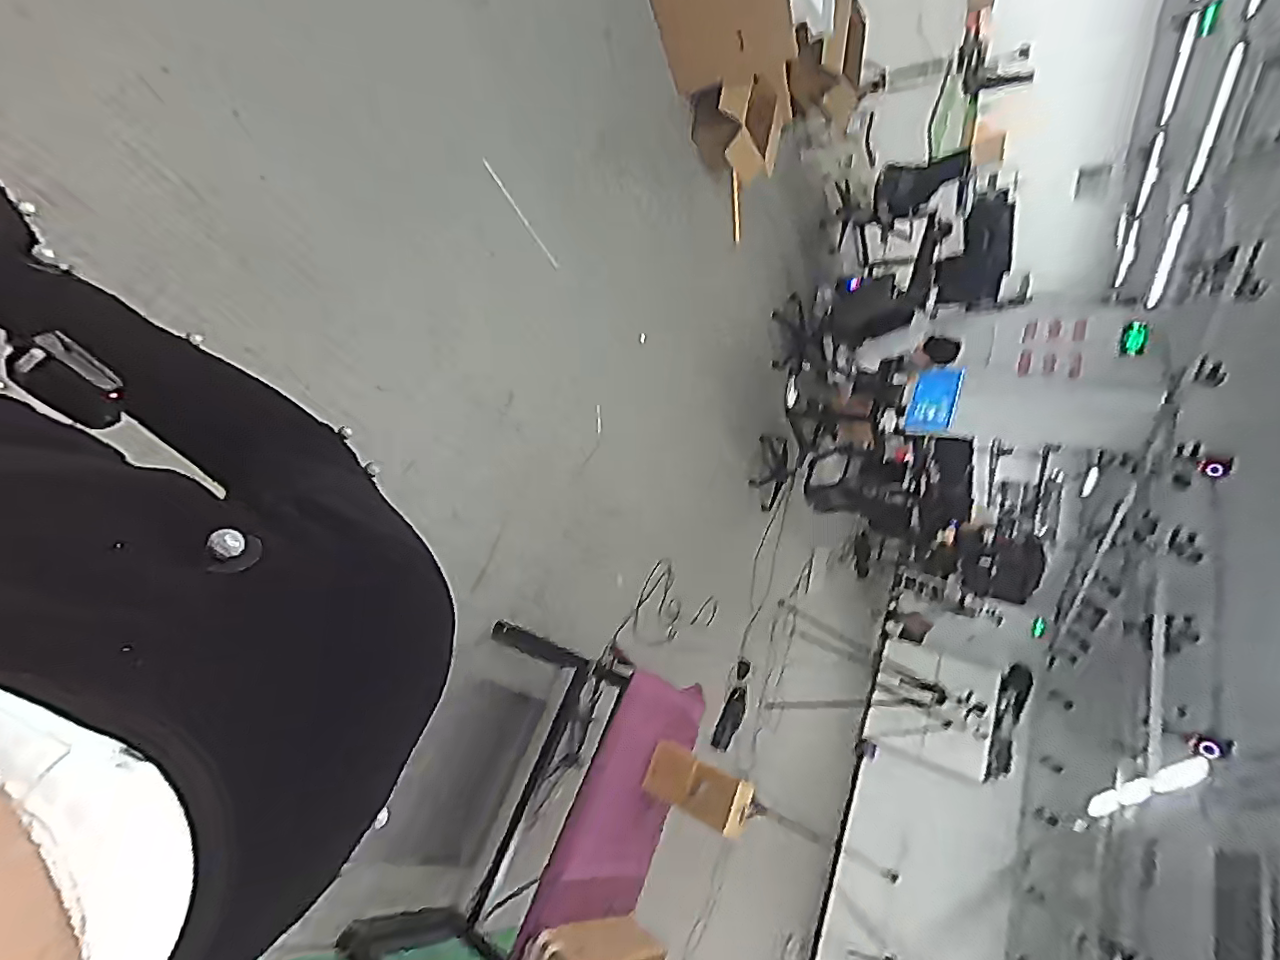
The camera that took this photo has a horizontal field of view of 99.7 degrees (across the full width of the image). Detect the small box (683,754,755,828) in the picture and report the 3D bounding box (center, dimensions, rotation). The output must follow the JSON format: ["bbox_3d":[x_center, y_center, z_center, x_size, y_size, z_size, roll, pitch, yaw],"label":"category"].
[{"bbox_3d":[0.275,1.077,1.876,0.179,0.176,0.168,52,56,-46],"label":"small box"}]

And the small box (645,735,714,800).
[{"bbox_3d":[0.142,1.048,1.969,0.179,0.176,0.168,47,60,-50],"label":"small box"}]
